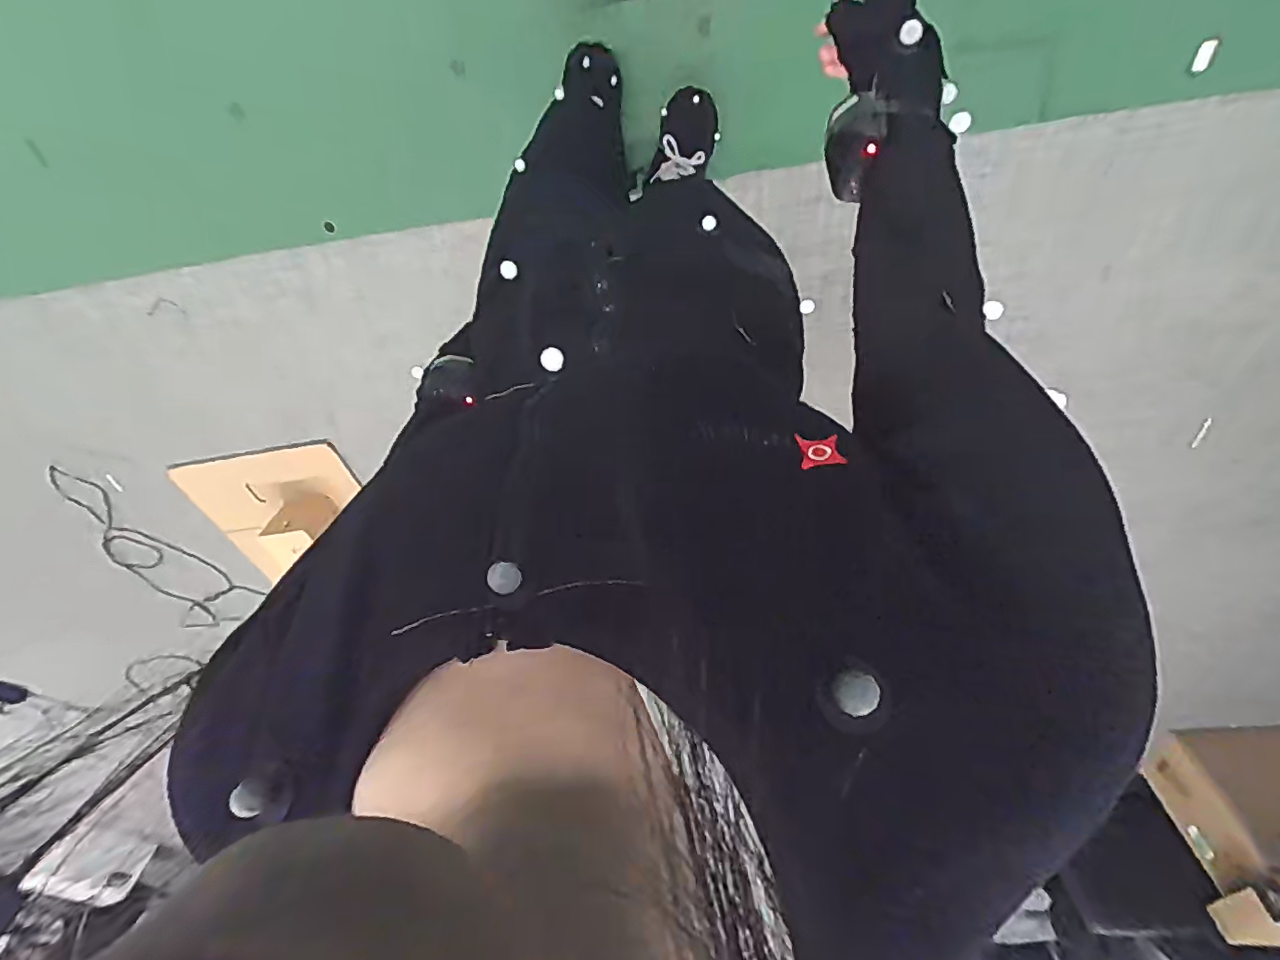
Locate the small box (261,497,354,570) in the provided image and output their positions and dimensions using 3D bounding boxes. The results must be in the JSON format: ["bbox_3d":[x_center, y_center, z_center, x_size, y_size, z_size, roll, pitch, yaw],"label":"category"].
[{"bbox_3d":[-1.119,0.180,1.835,0.179,0.176,0.168,-10,128,9],"label":"small box"}]
